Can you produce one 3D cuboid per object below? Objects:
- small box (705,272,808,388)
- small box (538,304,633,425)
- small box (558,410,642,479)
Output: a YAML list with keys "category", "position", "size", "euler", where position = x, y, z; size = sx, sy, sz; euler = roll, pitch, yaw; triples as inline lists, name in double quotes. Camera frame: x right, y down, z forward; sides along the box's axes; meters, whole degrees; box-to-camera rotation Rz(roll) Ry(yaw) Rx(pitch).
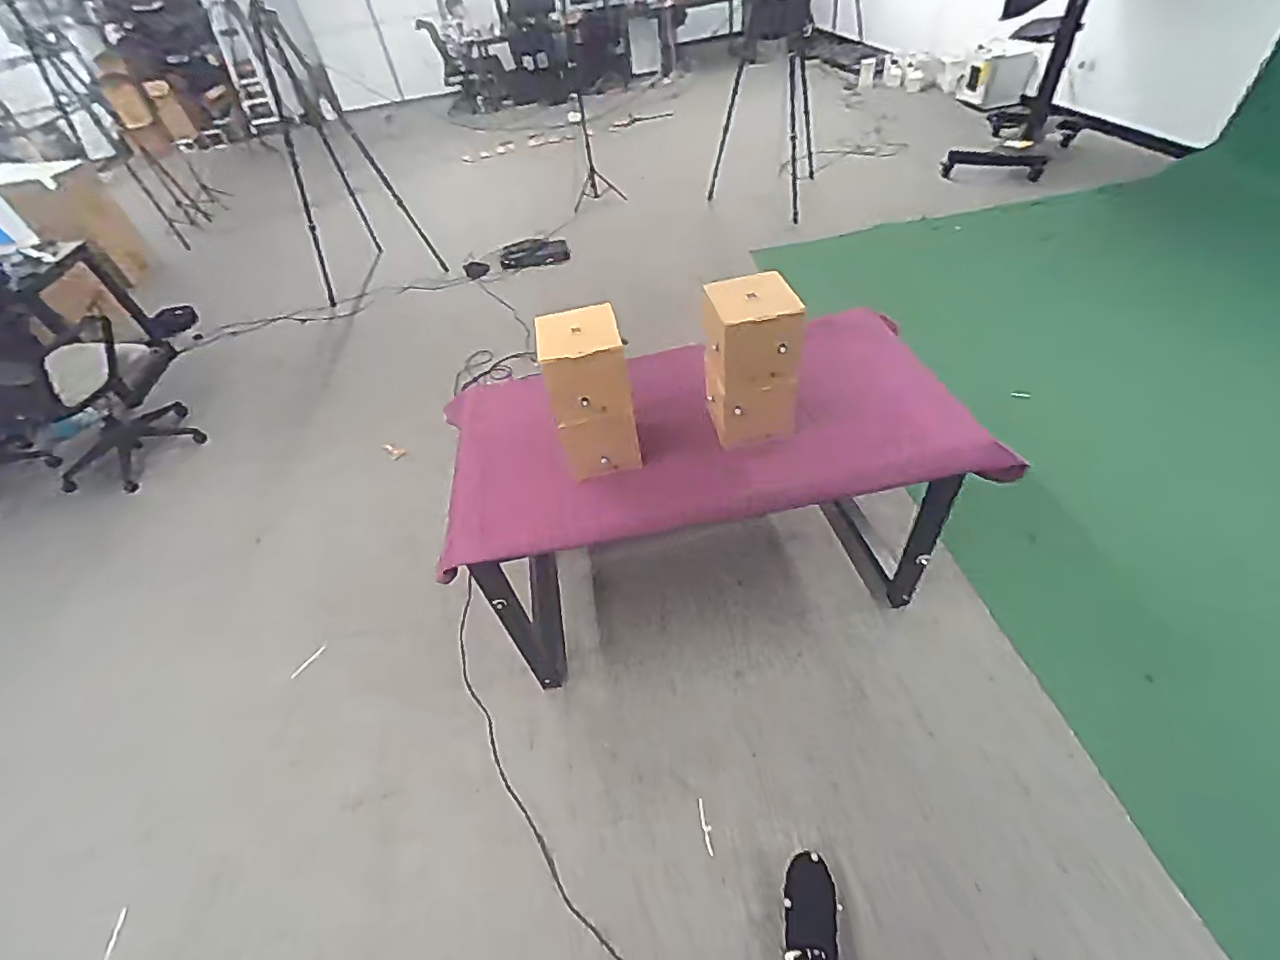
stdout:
- category: "small box"
  position: [0.240, -0.308, 1.139]
  size: [0.168, 0.176, 0.179]
  euler: [-11, 45, -2]
- category: "small box"
  position: [-0.113, -0.241, 1.134]
  size: [0.168, 0.176, 0.179]
  euler: [-11, 47, -2]
- category: "small box"
  position: [-0.094, -0.128, 1.249]
  size: [0.168, 0.176, 0.179]
  euler: [-11, 46, -1]
